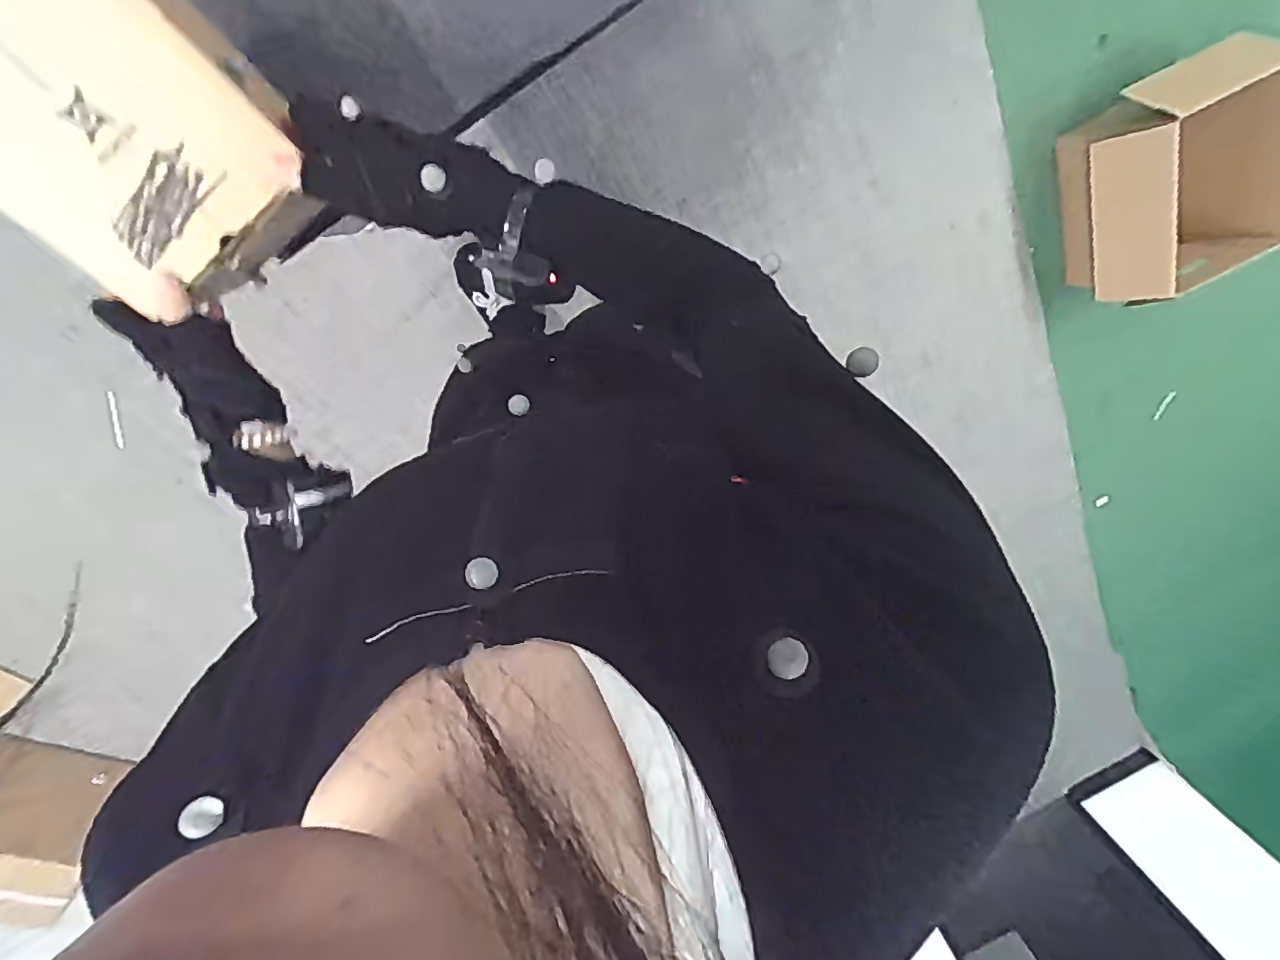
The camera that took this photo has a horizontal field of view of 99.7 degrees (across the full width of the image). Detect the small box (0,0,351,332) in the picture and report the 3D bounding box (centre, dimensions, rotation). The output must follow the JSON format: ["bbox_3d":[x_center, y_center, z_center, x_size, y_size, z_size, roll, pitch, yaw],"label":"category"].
[{"bbox_3d":[-0.358,-0.247,0.414,0.168,0.176,0.179,-41,120,5],"label":"small box"}]
